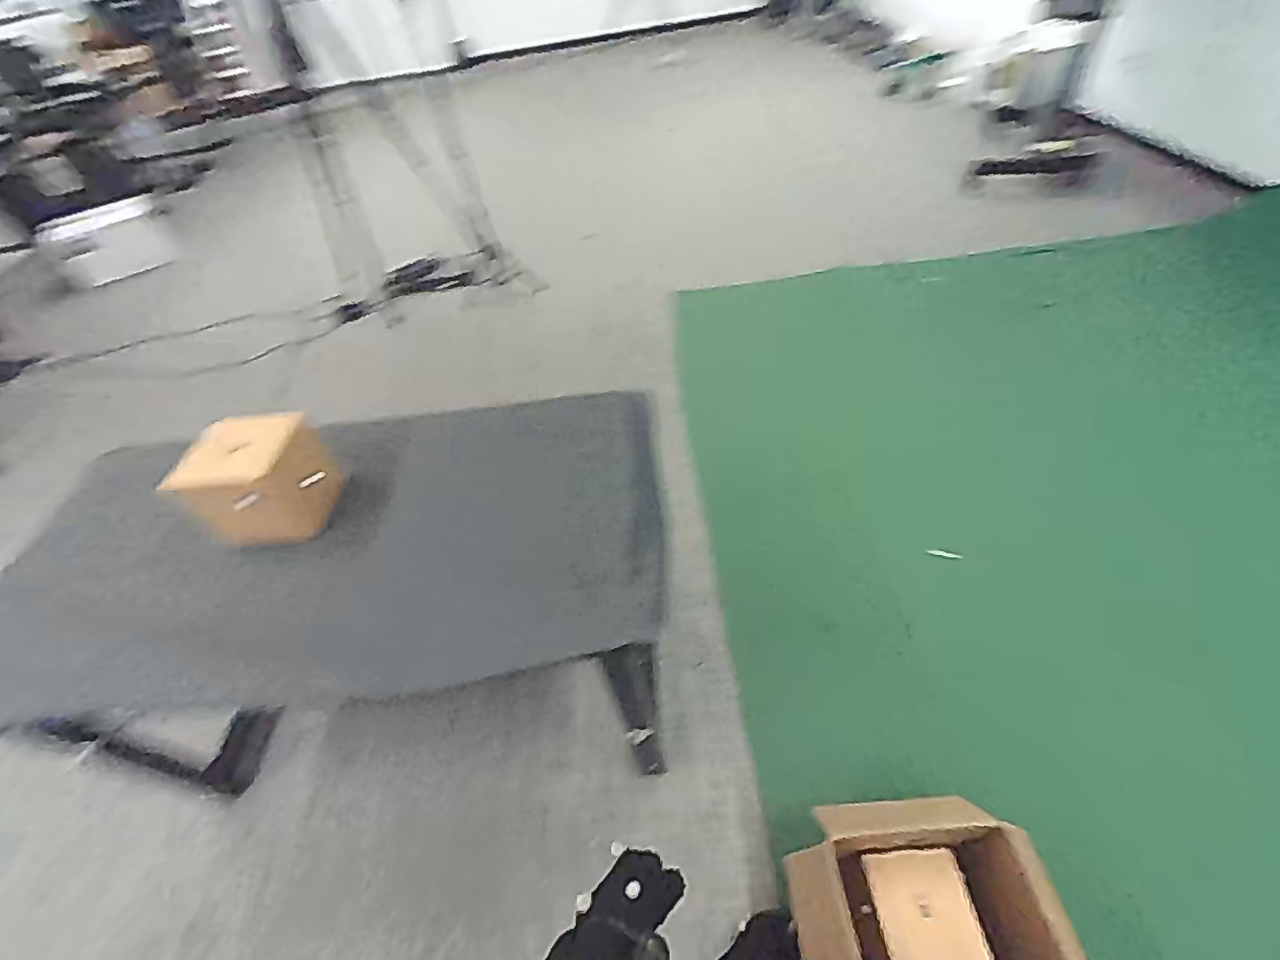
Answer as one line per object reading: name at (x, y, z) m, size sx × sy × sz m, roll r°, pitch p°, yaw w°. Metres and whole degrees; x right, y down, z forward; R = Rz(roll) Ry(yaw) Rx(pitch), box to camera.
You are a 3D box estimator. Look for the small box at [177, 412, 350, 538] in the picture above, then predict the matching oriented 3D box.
small box at (-0.686, -0.006, 1.016) m, size 0.179 × 0.176 × 0.168 m, roll -4°, pitch 47°, yaw 6°
